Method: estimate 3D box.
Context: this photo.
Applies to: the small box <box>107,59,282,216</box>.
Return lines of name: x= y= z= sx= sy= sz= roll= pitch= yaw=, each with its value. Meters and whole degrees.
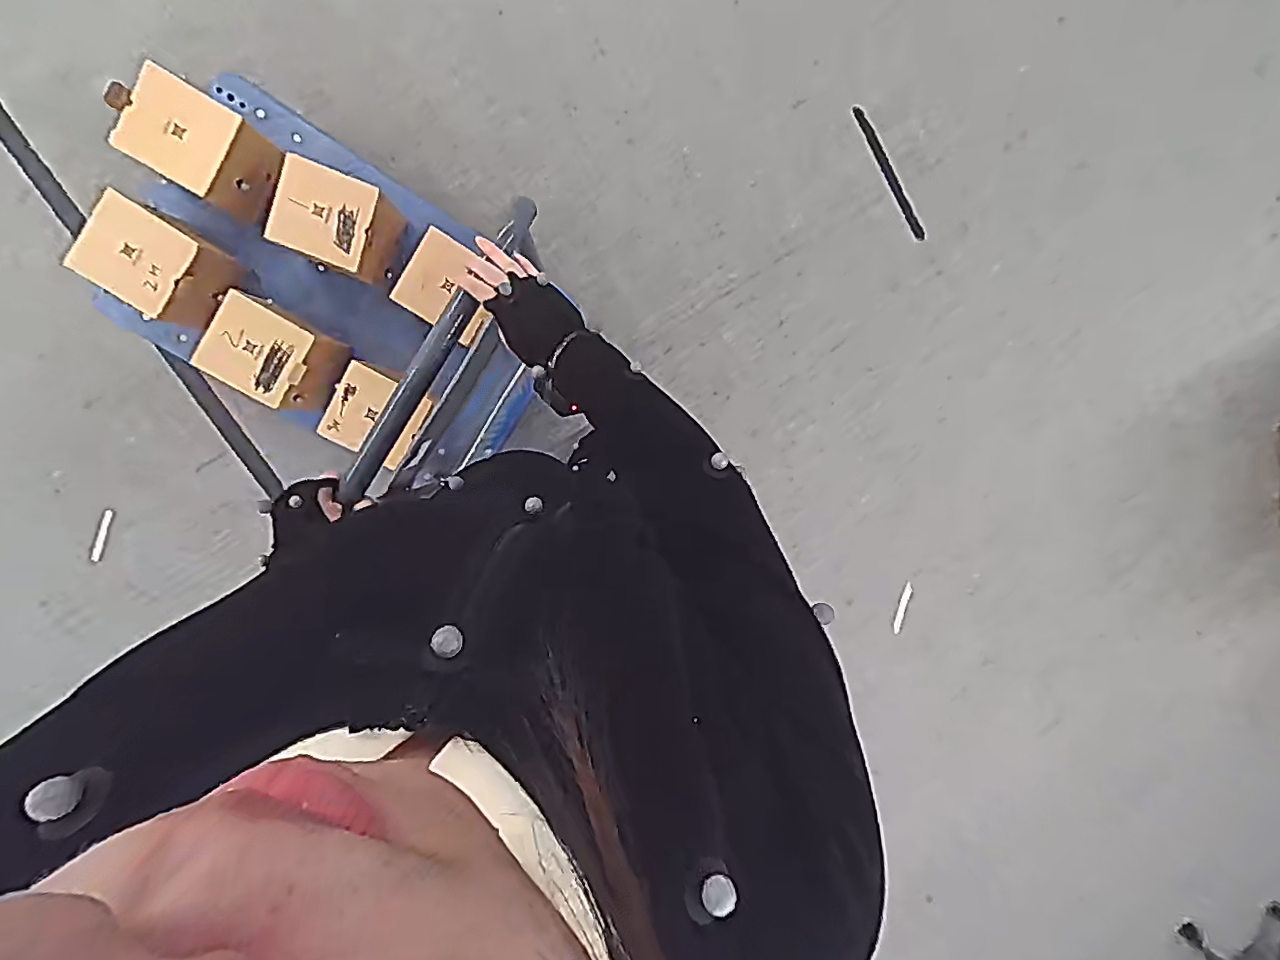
small box: x=-0.842 y=-0.642 z=1.045 sx=0.179 sy=0.176 sz=0.168 roll=28 pitch=94 yaw=-11

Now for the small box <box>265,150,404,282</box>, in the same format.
small box: x=-0.605 y=-0.518 z=1.095 sx=0.179 sy=0.176 sz=0.168 roll=19 pitch=95 yaw=-9

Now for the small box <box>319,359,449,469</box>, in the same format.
small box: x=-0.534 y=-0.143 z=1.158 sx=0.179 sy=0.176 sz=0.168 roll=28 pitch=93 yaw=-11

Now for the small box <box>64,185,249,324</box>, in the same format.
small box: x=-0.933 y=-0.427 z=1.062 sx=0.179 sy=0.176 sz=0.168 roll=33 pitch=93 yaw=-12

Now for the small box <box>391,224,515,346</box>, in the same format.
small box: x=-0.381 y=-0.398 z=1.143 sx=0.179 sy=0.176 sz=0.168 roll=32 pitch=92 yaw=-10
